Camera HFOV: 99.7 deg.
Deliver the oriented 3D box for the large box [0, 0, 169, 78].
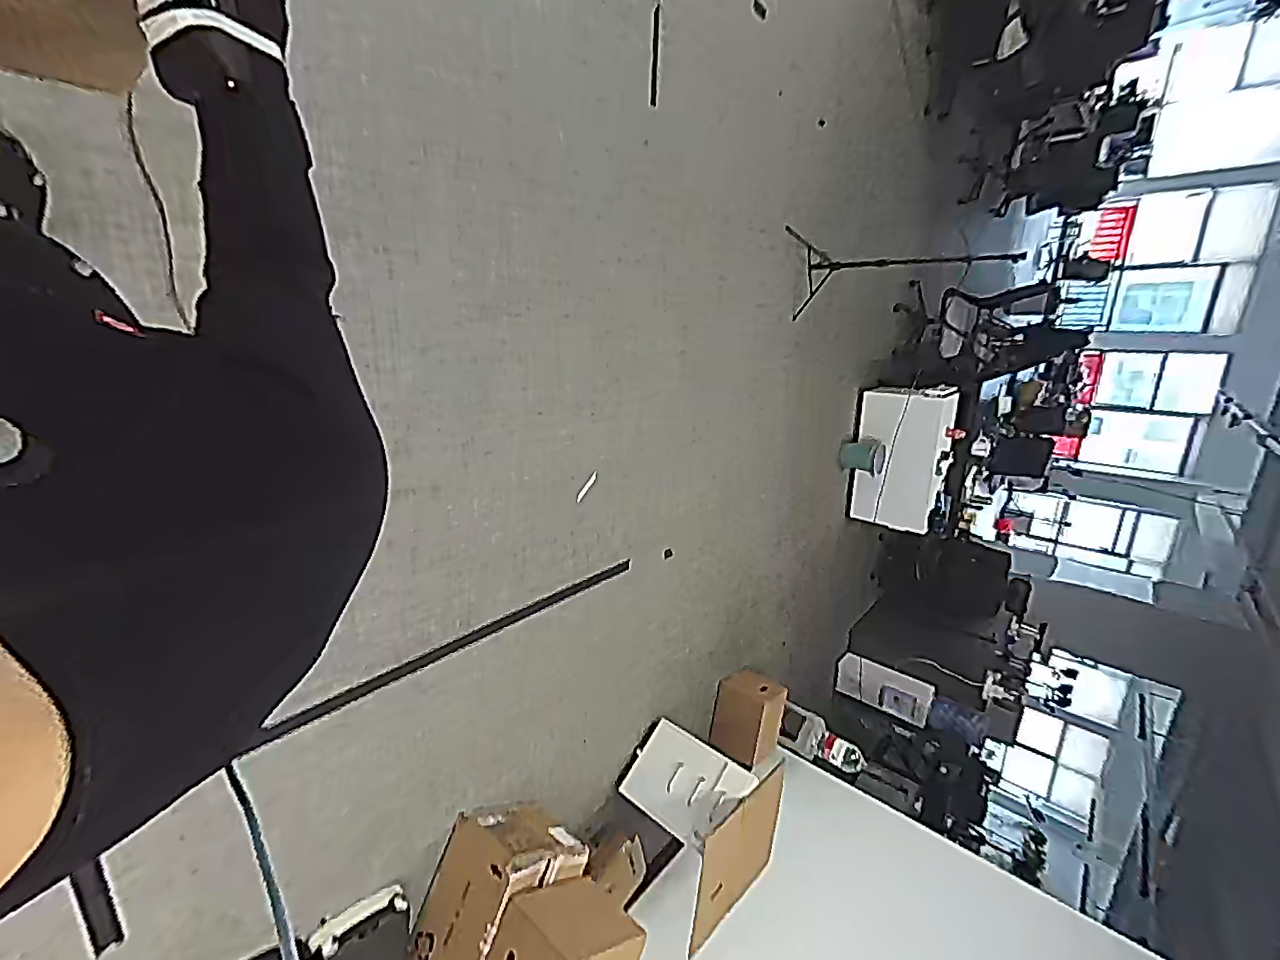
[{"bbox_3d":[-0.562,-0.488,0.289,0.408,0.320,0.320,-18,117,-47],"label":"large box"}]
